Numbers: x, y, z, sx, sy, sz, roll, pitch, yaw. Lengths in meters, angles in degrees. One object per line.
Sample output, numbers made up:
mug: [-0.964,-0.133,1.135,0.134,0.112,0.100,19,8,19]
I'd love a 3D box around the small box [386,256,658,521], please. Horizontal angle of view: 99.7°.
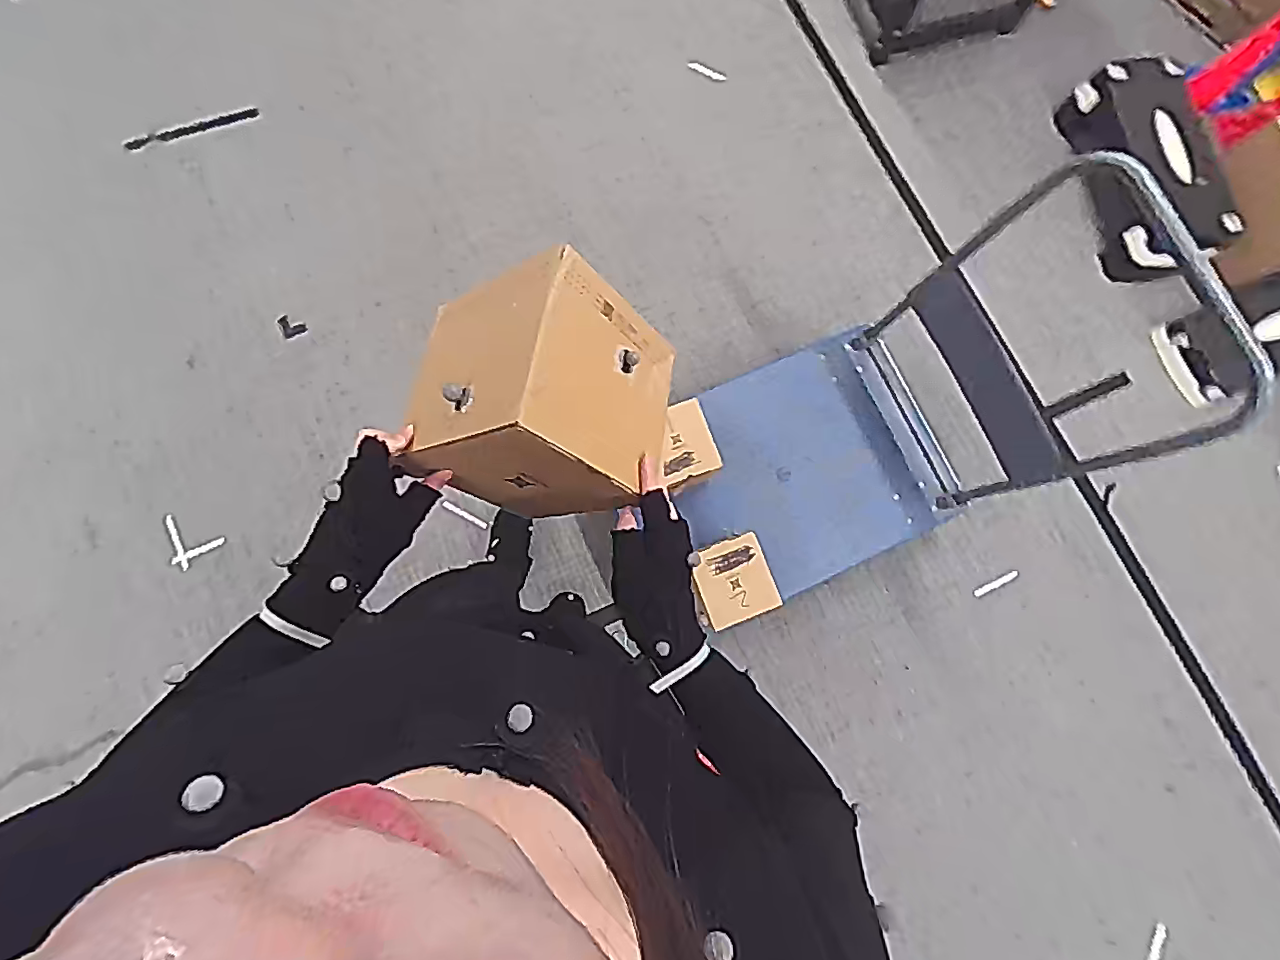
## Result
small box: [-0.100,-0.072,0.513,0.179,0.168,0.176,-10,63,36]

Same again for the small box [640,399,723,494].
small box: [0.083,-0.072,1.312,0.168,0.176,0.179,-19,82,-8]
